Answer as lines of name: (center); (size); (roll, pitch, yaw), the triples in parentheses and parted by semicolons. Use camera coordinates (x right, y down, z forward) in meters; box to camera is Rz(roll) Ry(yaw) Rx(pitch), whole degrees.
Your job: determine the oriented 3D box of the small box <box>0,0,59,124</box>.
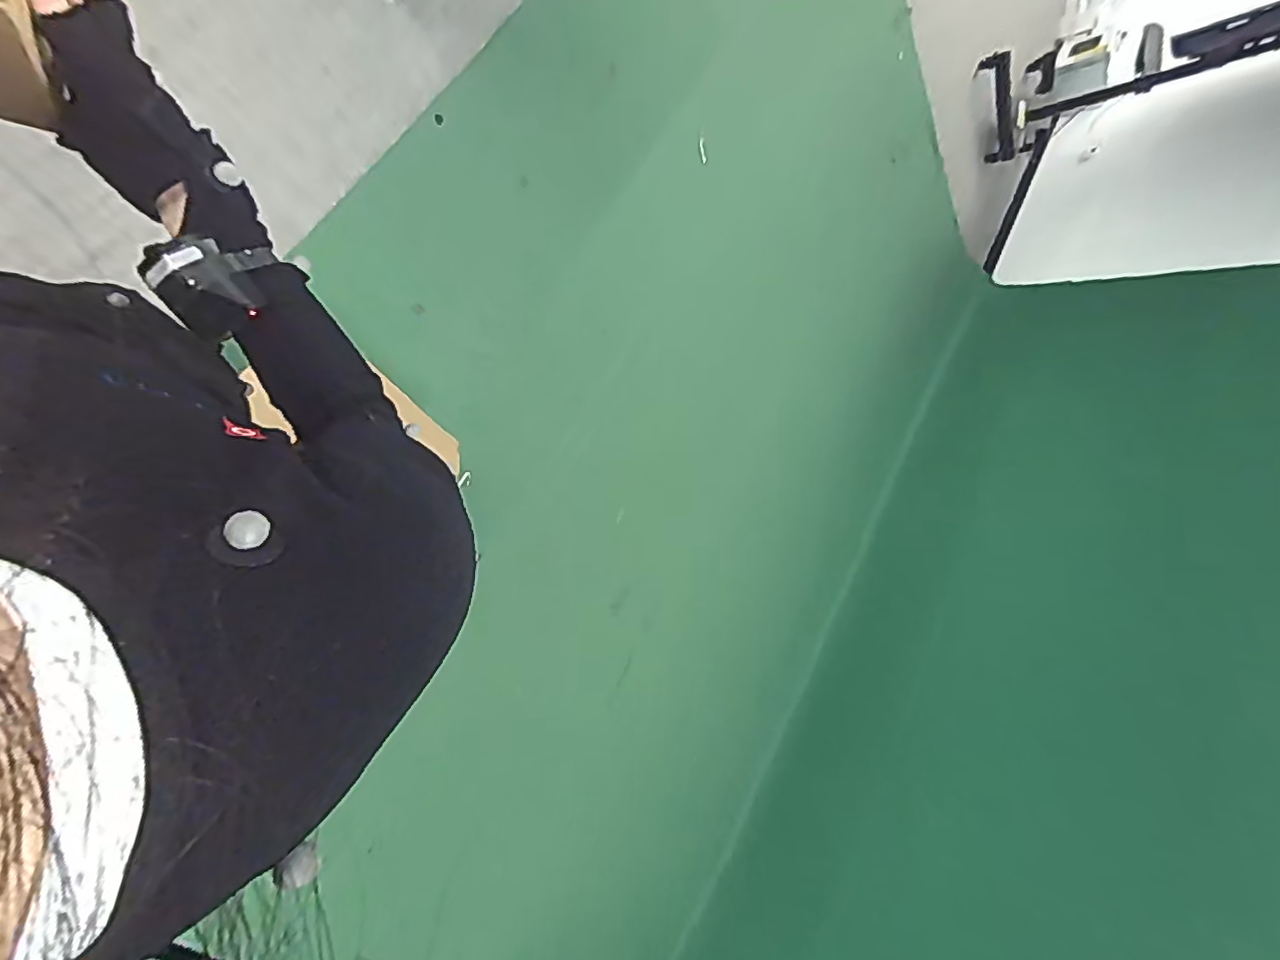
small box: (-0.440, -0.334, 0.283); (0.168, 0.176, 0.179); (-3, 100, -40)
